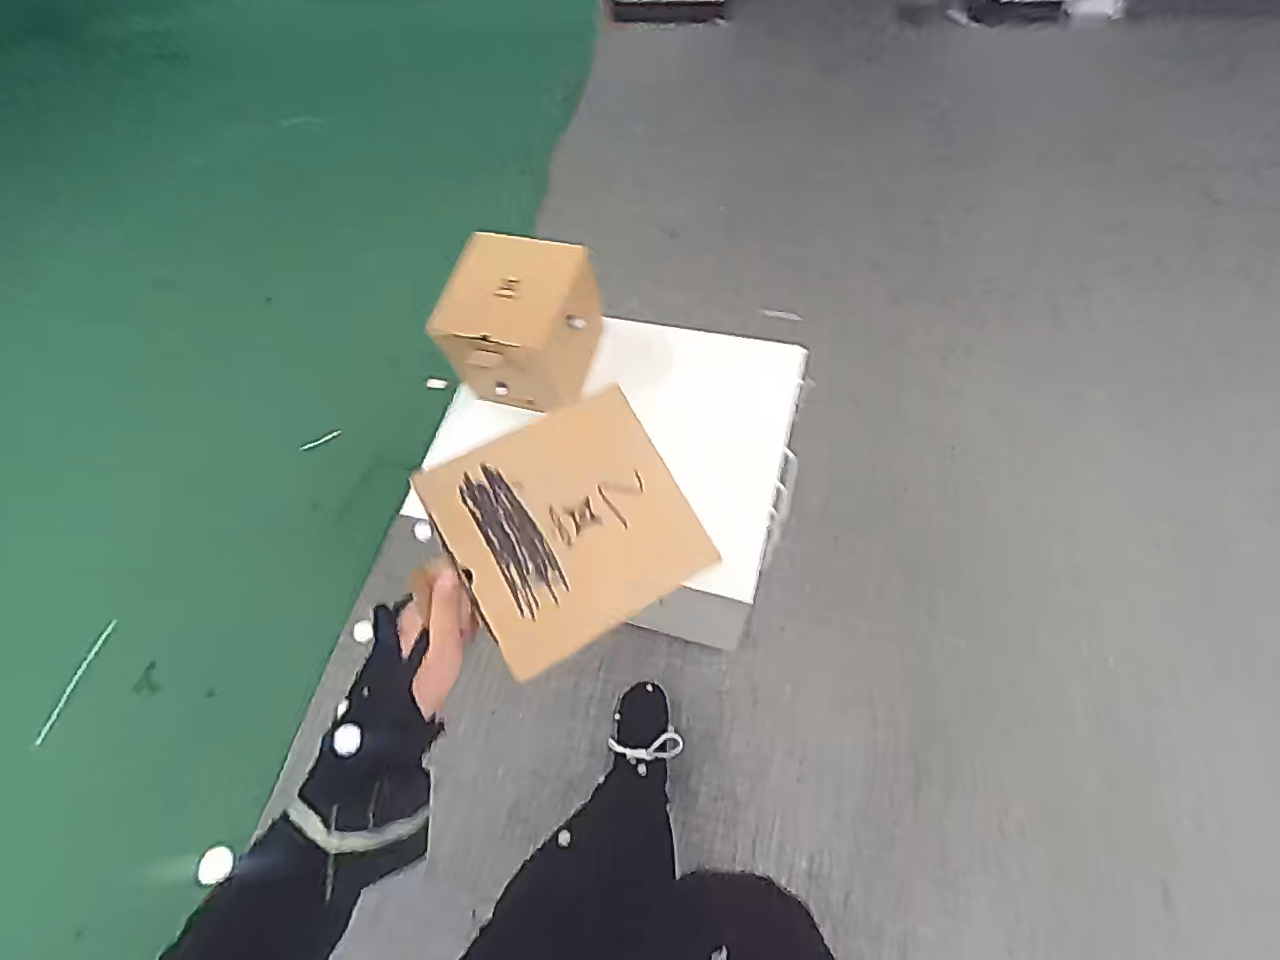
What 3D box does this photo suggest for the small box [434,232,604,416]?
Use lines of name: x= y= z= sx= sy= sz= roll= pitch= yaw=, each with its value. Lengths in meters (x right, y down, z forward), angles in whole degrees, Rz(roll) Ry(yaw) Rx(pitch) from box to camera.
small box: x=-0.158 y=-0.220 z=0.783 sx=0.168 sy=0.176 sz=0.179 roll=13 pitch=70 yaw=12
